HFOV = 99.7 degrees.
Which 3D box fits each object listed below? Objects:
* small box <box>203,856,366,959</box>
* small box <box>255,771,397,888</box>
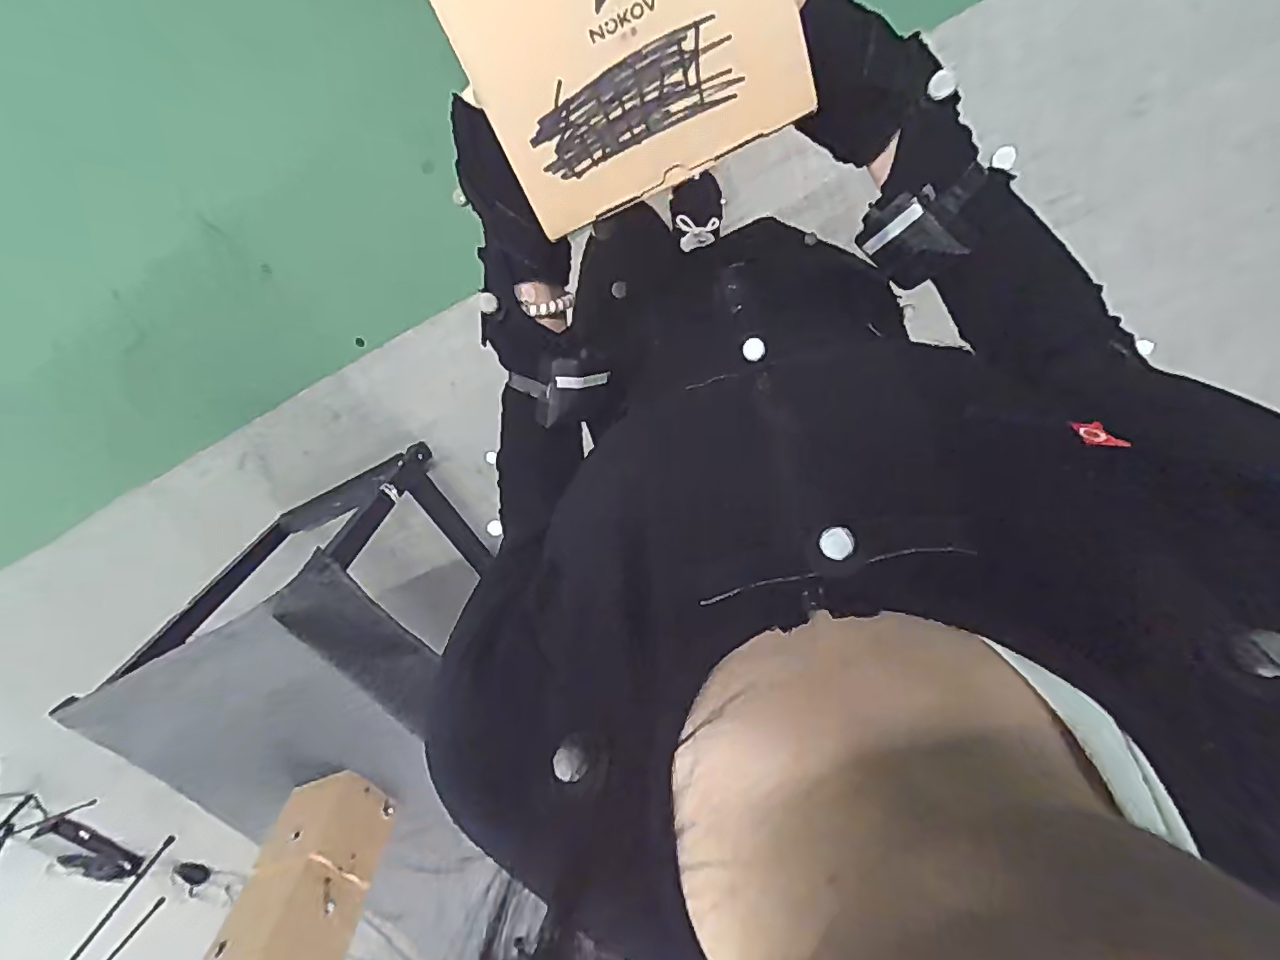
[{"bbox_3d":[-0.662,0.851,1.020,0.179,0.176,0.168,-26,117,15],"label":"small box"},{"bbox_3d":[-0.651,0.751,1.152,0.179,0.176,0.168,-24,117,16],"label":"small box"}]
